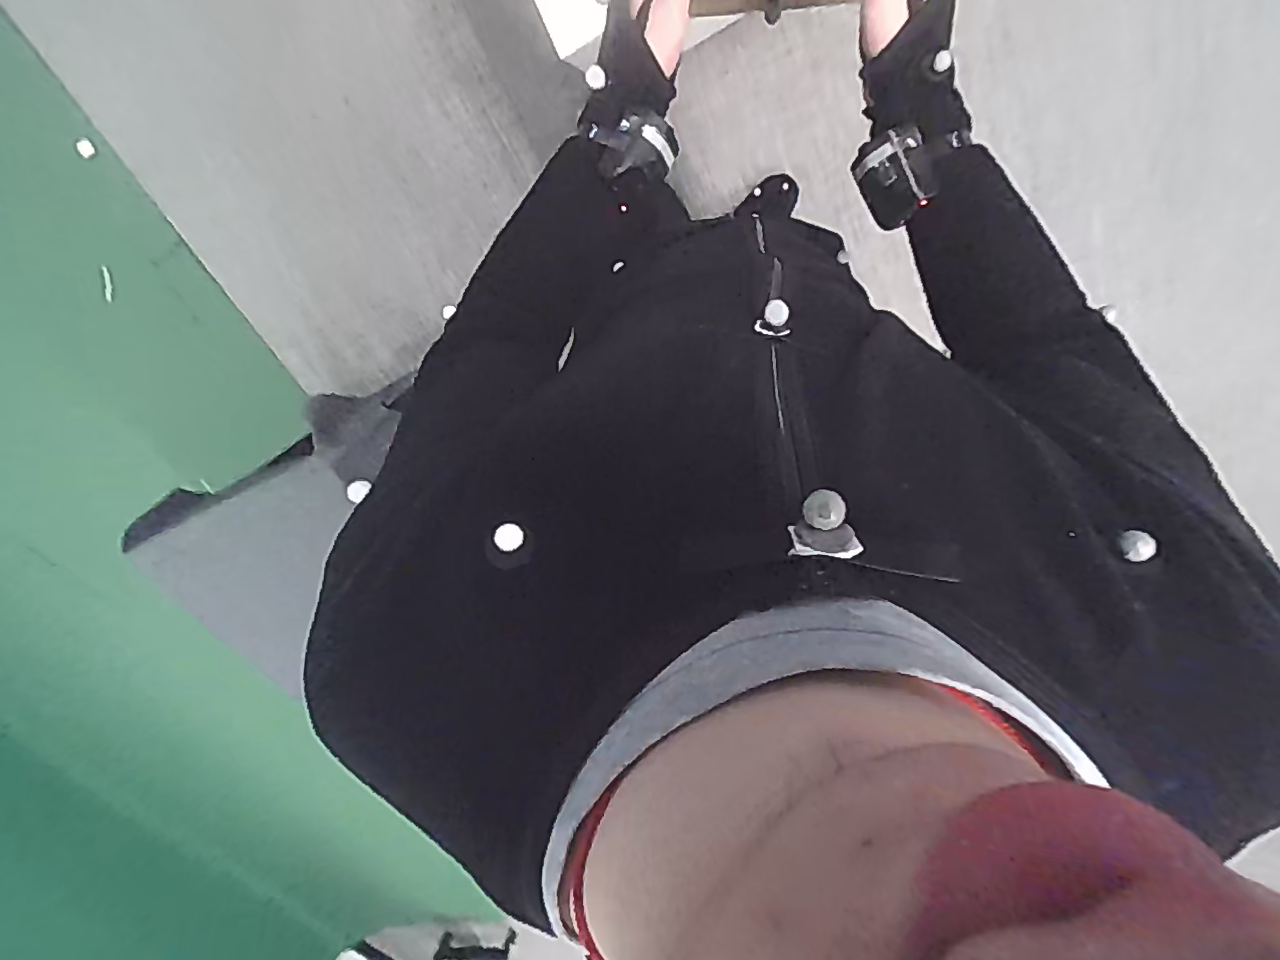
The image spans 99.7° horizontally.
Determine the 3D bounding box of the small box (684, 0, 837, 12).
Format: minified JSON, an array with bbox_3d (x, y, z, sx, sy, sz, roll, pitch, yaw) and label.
[{"bbox_3d":[0.116,-0.490,0.415,0.179,0.176,0.168,2,119,7],"label":"small box"}]
